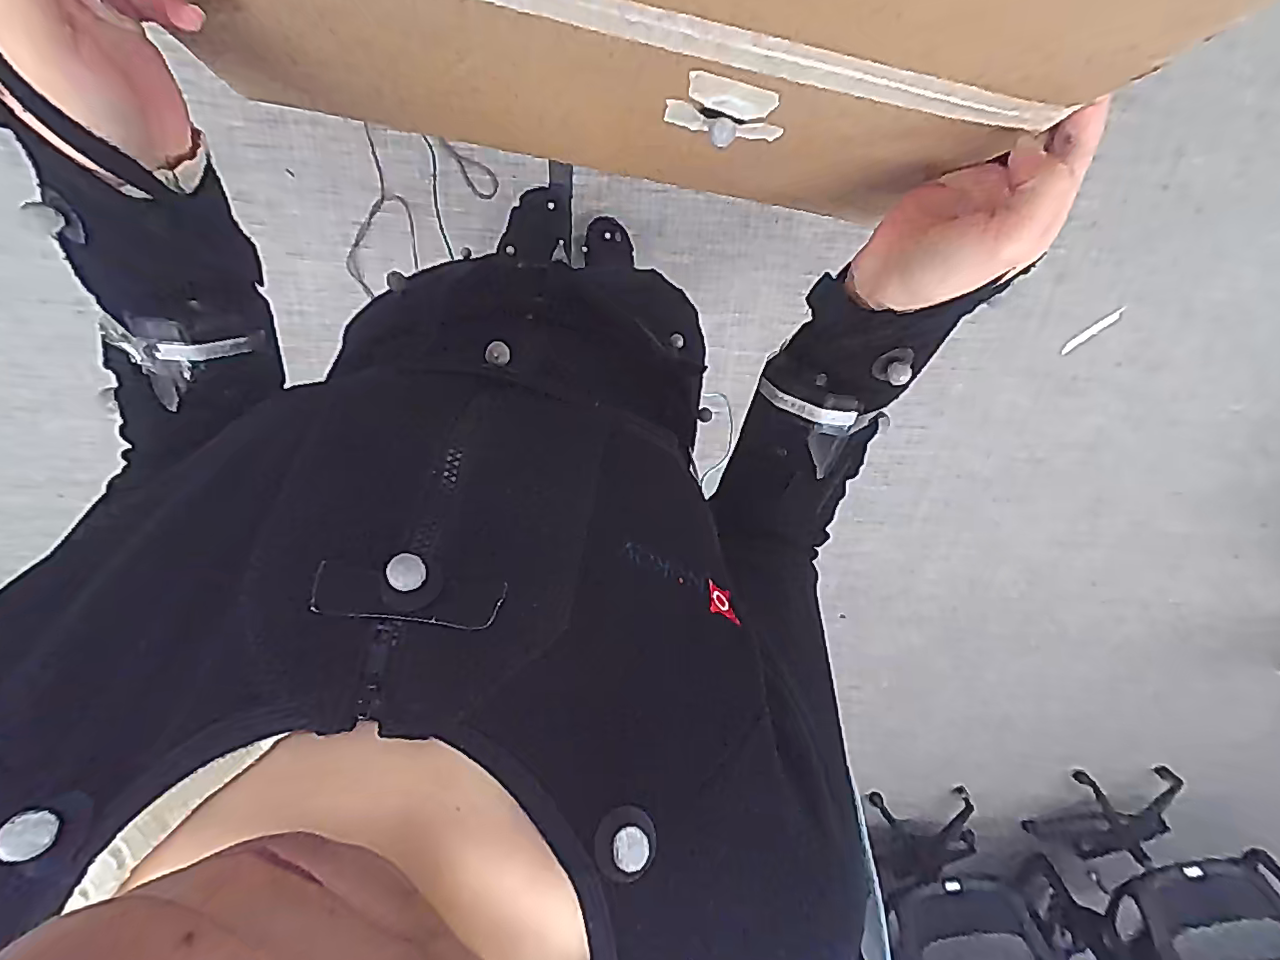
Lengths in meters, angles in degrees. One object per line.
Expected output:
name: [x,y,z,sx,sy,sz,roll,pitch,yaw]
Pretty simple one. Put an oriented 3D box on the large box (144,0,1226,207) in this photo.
large box: [0.000,-0.332,0.180,0.408,0.320,0.320,6,100,-8]
